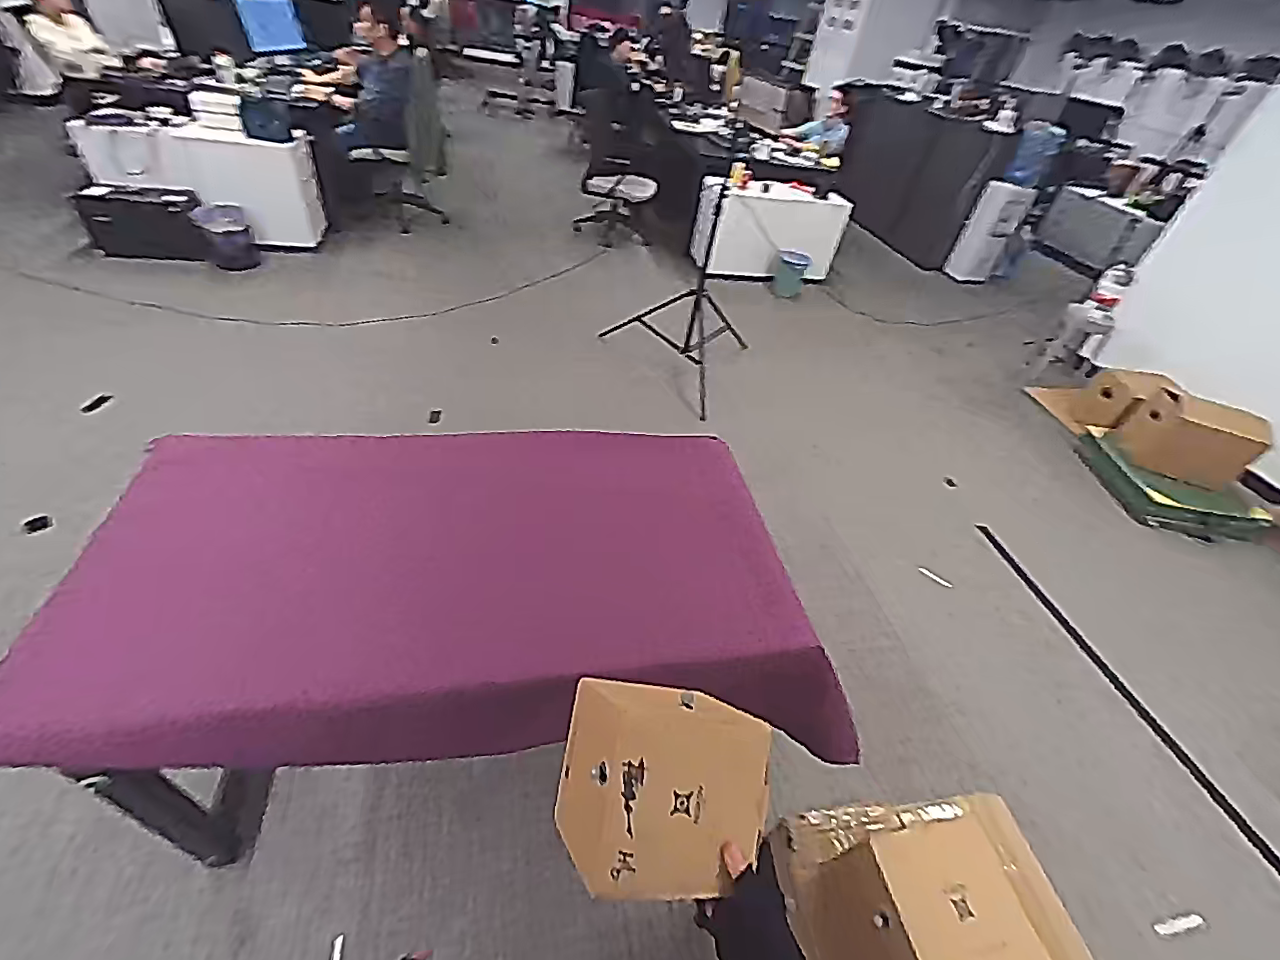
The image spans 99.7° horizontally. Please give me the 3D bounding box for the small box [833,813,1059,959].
[{"bbox_3d":[0.381,0.568,0.705,0.168,0.176,0.179,-3,45,-12],"label":"small box"}]

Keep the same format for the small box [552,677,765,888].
[{"bbox_3d":[0.014,0.327,0.613,0.179,0.176,0.168,14,75,-19],"label":"small box"}]
